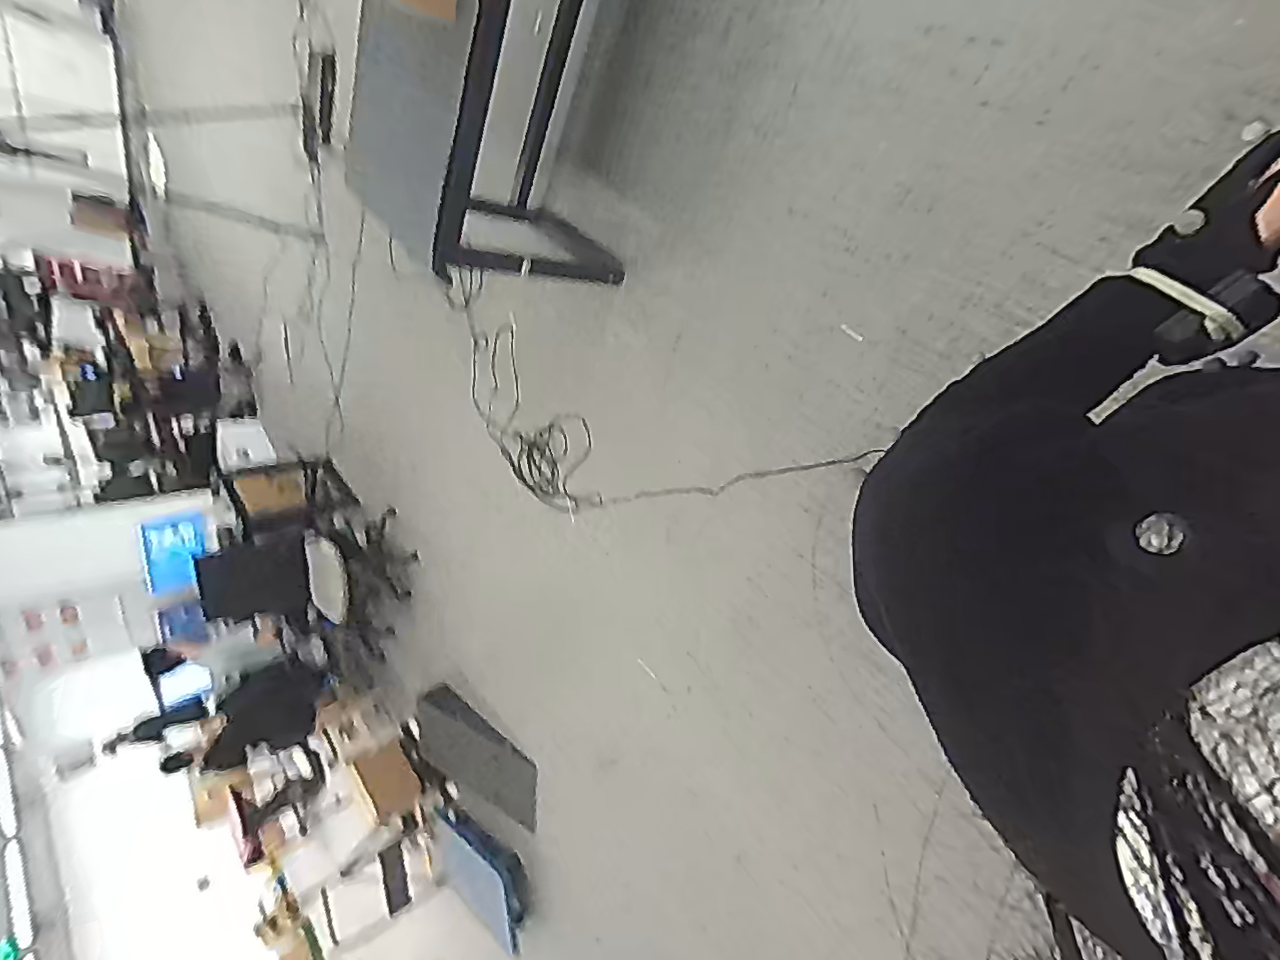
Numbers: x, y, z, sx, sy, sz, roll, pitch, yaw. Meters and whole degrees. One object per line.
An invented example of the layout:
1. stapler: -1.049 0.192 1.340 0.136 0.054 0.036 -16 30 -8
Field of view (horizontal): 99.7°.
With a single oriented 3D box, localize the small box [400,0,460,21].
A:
1. small box: -0.493 -1.129 1.161 0.179 0.176 0.168 42 125 29
